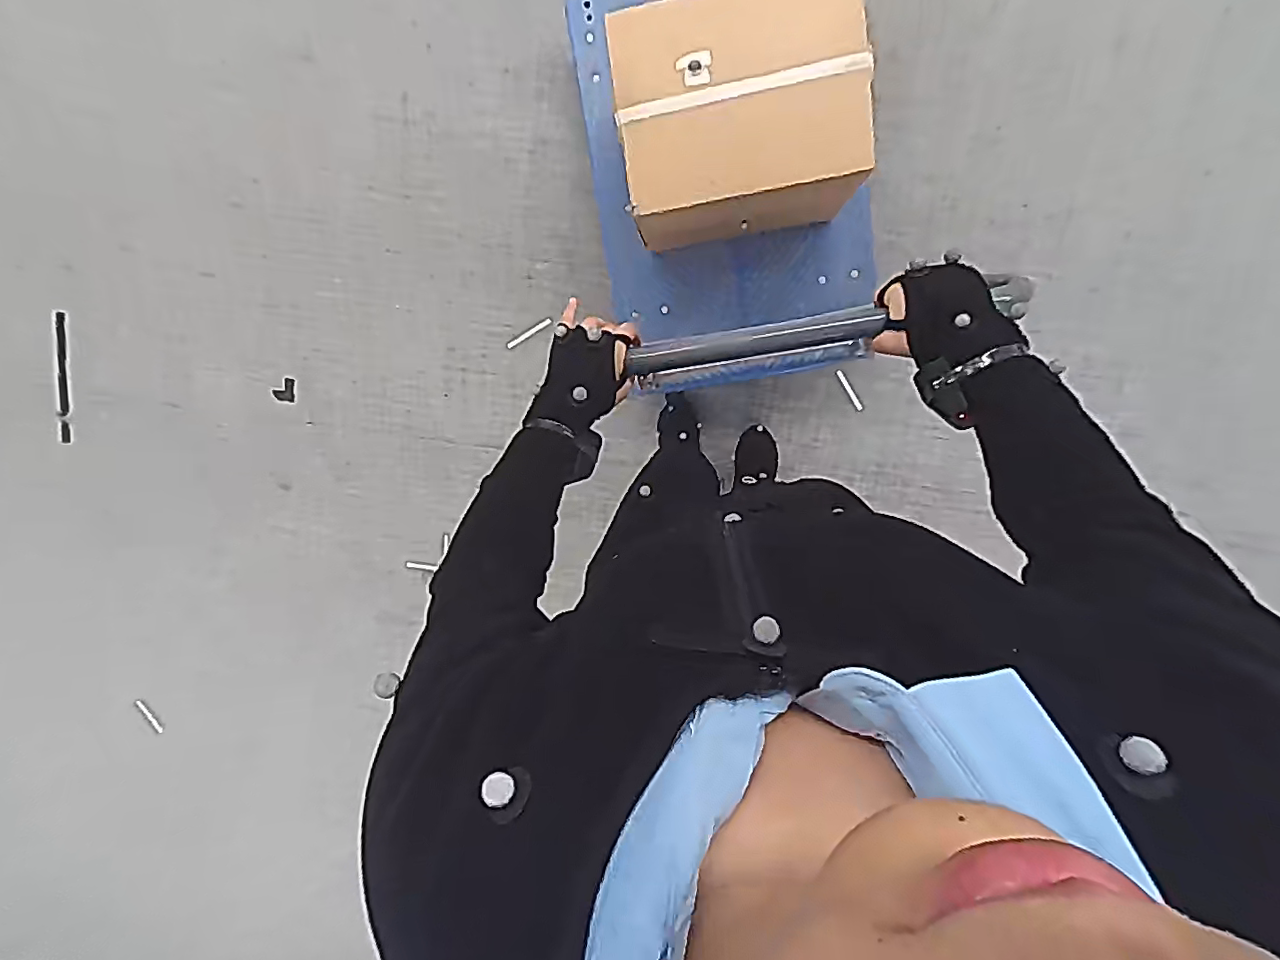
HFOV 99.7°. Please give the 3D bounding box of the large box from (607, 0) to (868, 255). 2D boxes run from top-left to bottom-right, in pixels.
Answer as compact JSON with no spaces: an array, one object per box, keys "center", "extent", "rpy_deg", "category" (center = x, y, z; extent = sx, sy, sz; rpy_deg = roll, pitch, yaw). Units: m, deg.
[{"center":[0.182,-0.660,1.048],"extent":[0.408,0.320,0.320],"rpy_deg":[-8,99,9],"category":"large box"}]
